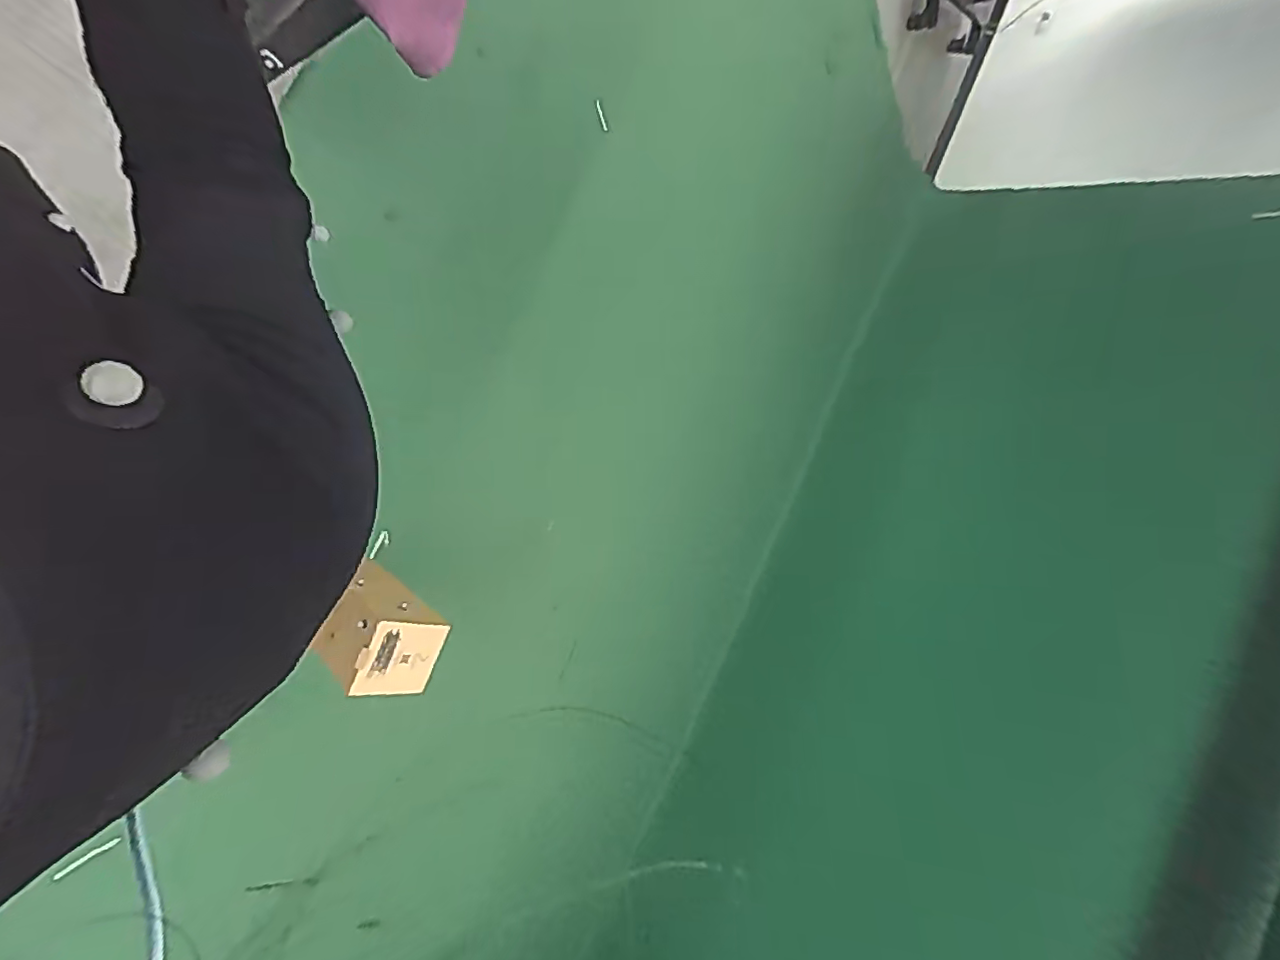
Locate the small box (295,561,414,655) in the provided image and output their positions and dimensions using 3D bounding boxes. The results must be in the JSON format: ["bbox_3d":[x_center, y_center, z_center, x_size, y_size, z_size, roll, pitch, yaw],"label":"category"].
[{"bbox_3d":[-0.696,0.310,1.317,0.179,0.176,0.168,25,87,-50],"label":"small box"}]
